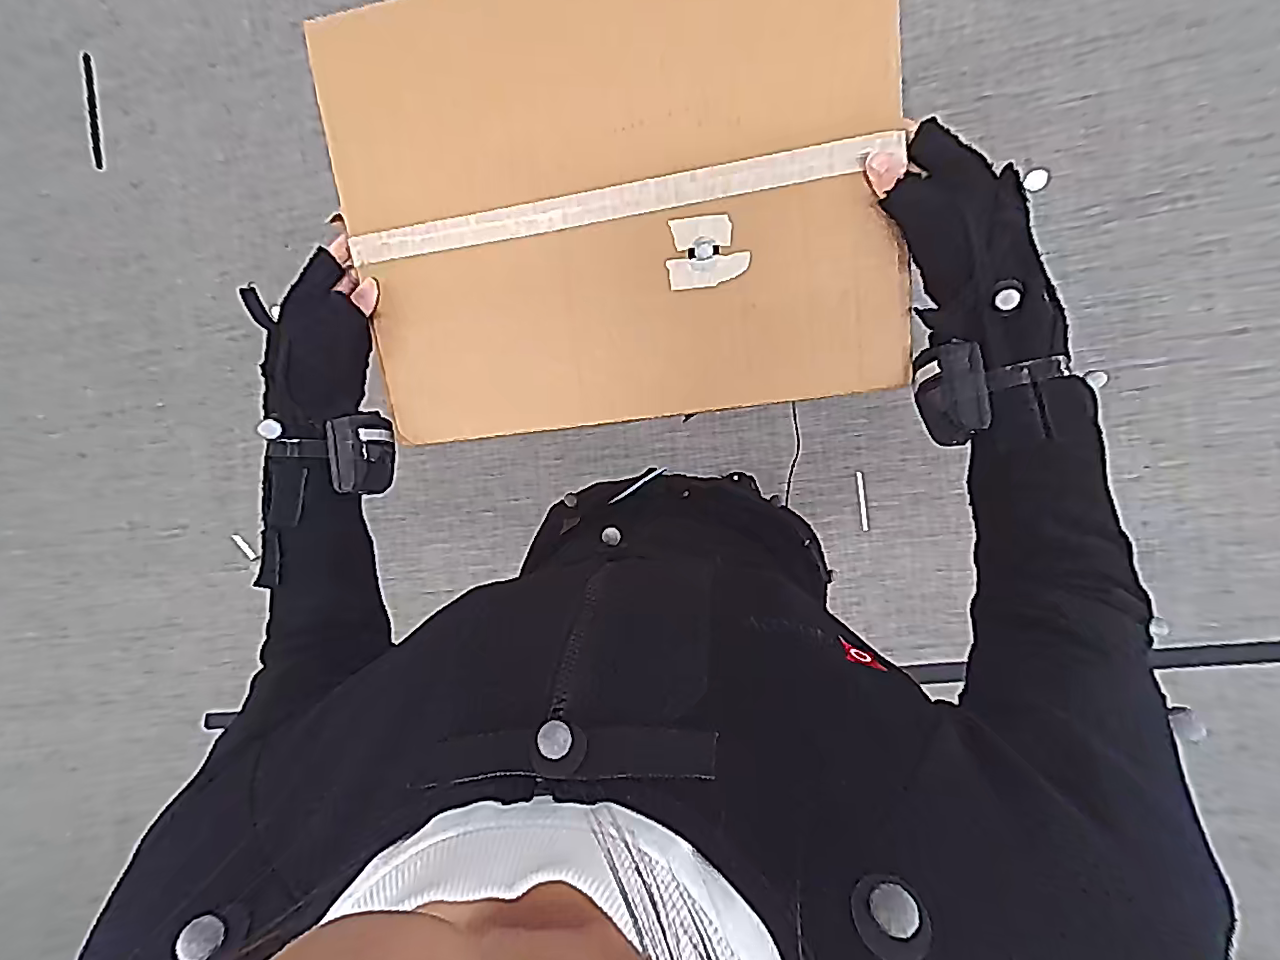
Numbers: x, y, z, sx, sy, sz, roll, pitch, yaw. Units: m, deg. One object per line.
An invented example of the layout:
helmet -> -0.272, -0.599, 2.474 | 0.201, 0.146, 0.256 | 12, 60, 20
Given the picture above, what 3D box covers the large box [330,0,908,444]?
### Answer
large box -> -0.001, -0.234, 0.547 | 0.408, 0.320, 0.320 | -7, 102, 8
